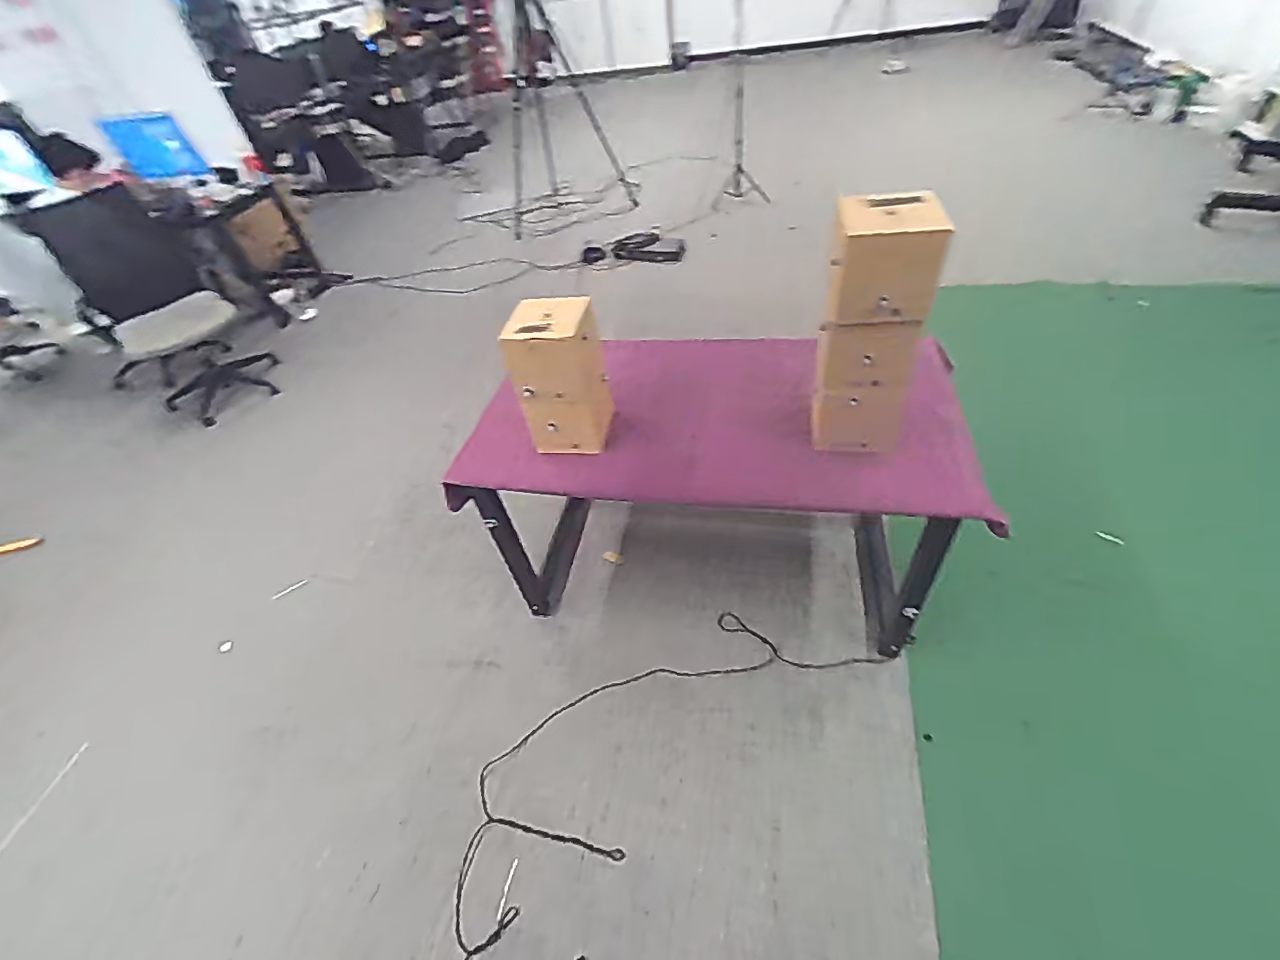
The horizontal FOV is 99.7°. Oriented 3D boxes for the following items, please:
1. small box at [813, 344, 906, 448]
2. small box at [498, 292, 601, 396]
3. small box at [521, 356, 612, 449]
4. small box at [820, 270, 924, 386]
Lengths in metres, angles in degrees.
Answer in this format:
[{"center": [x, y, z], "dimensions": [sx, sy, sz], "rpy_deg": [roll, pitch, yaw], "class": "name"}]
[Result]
[{"center": [0.486, -0.193, 1.223], "dimensions": [0.168, 0.176, 0.179], "rpy_deg": [2, 46, 13], "class": "small box"}, {"center": [-0.193, -0.304, 1.222], "dimensions": [0.168, 0.176, 0.179], "rpy_deg": [2, 46, 12], "class": "small box"}, {"center": [-0.173, -0.191, 1.341], "dimensions": [0.168, 0.176, 0.179], "rpy_deg": [1, 46, 11], "class": "small box"}, {"center": [0.465, -0.308, 1.106], "dimensions": [0.168, 0.176, 0.179], "rpy_deg": [4, 47, 13], "class": "small box"}]
